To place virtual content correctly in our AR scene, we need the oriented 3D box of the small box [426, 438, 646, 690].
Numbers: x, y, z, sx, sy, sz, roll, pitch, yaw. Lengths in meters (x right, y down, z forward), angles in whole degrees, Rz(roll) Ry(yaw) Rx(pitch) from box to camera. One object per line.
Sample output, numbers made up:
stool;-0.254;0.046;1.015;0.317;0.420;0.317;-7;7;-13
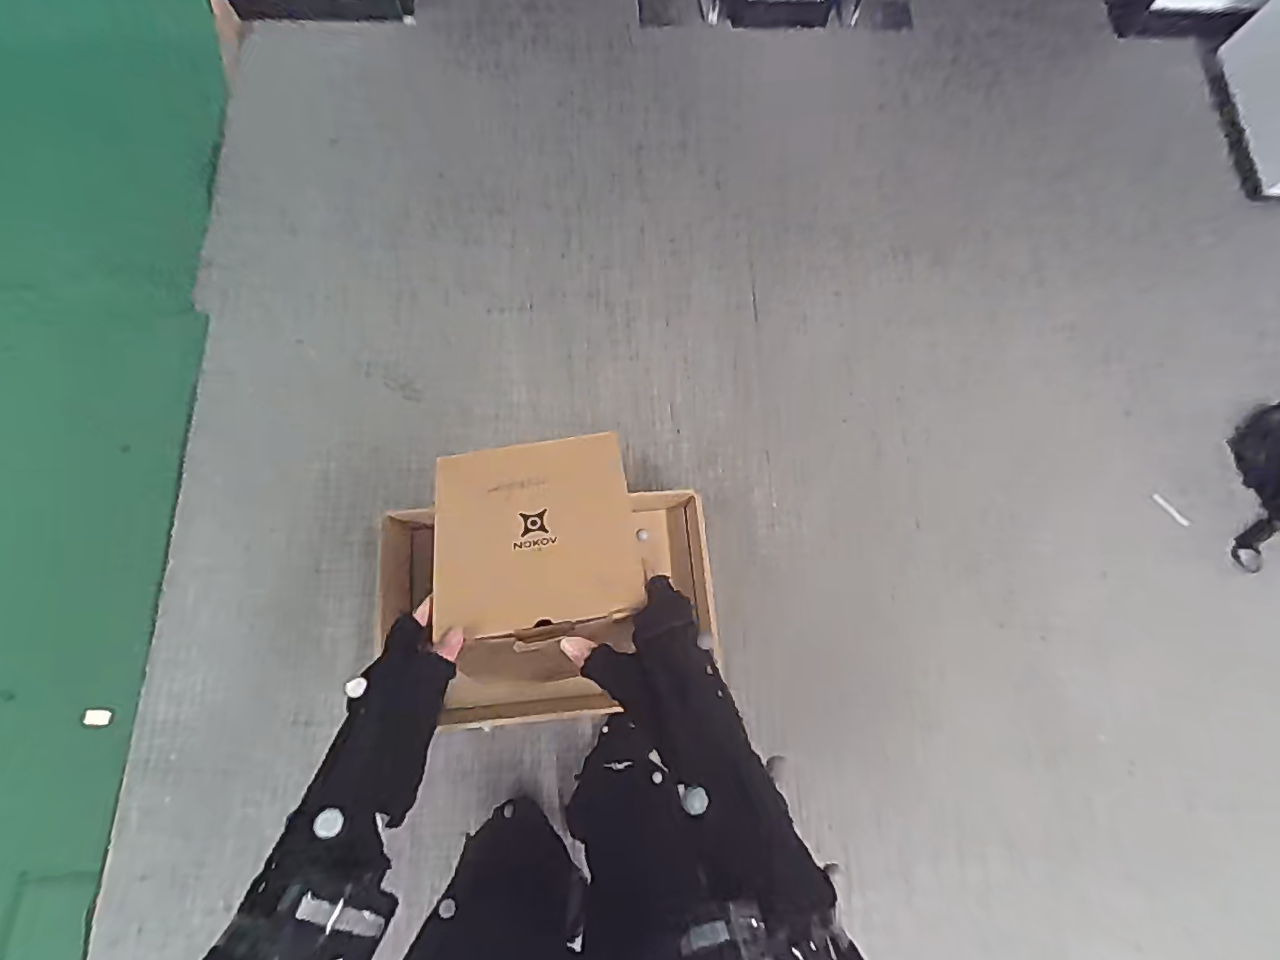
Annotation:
small box;-0.089;0.088;0.512;0.168;0.176;0.179;-9;57;-5
